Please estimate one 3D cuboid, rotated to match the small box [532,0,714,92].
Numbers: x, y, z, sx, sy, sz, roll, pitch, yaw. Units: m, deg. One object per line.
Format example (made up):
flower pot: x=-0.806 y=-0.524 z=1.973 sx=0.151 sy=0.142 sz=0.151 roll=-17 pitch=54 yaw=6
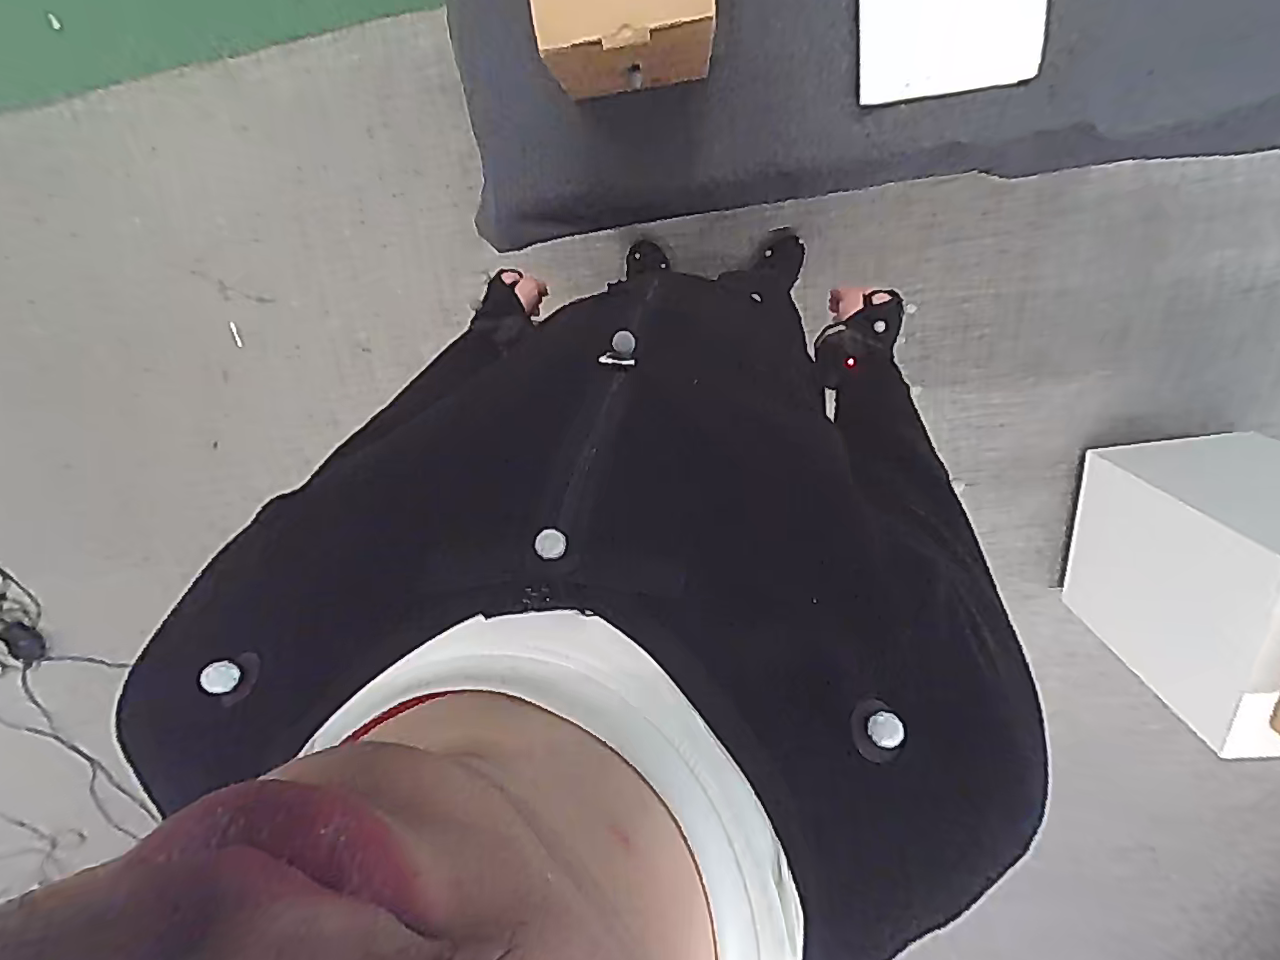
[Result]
small box: x=-0.016 y=-0.510 z=0.535 sx=0.168 sy=0.176 sz=0.179 roll=-6 pitch=114 yaw=7
